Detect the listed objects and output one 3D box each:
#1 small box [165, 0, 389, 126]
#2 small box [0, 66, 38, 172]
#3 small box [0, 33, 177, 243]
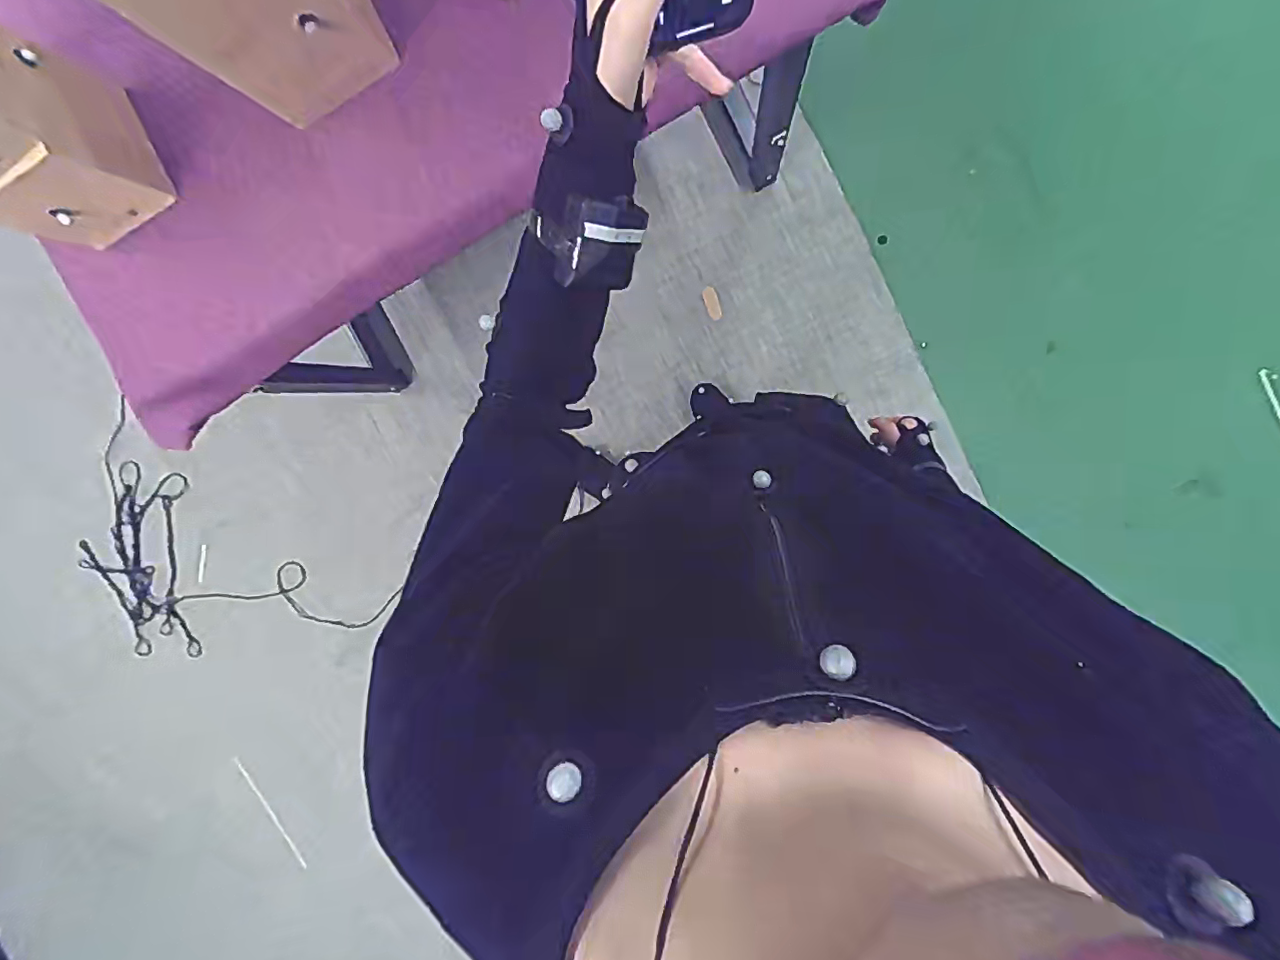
[{"bbox_3d":[-0.441,-0.586,0.659,0.179,0.176,0.168,-24,94,12],"label":"small box"},{"bbox_3d":[-0.826,-0.430,0.575,0.168,0.176,0.179,-29,94,11],"label":"small box"},{"bbox_3d":[-0.798,-0.447,0.736,0.168,0.176,0.179,-24,94,11],"label":"small box"}]
